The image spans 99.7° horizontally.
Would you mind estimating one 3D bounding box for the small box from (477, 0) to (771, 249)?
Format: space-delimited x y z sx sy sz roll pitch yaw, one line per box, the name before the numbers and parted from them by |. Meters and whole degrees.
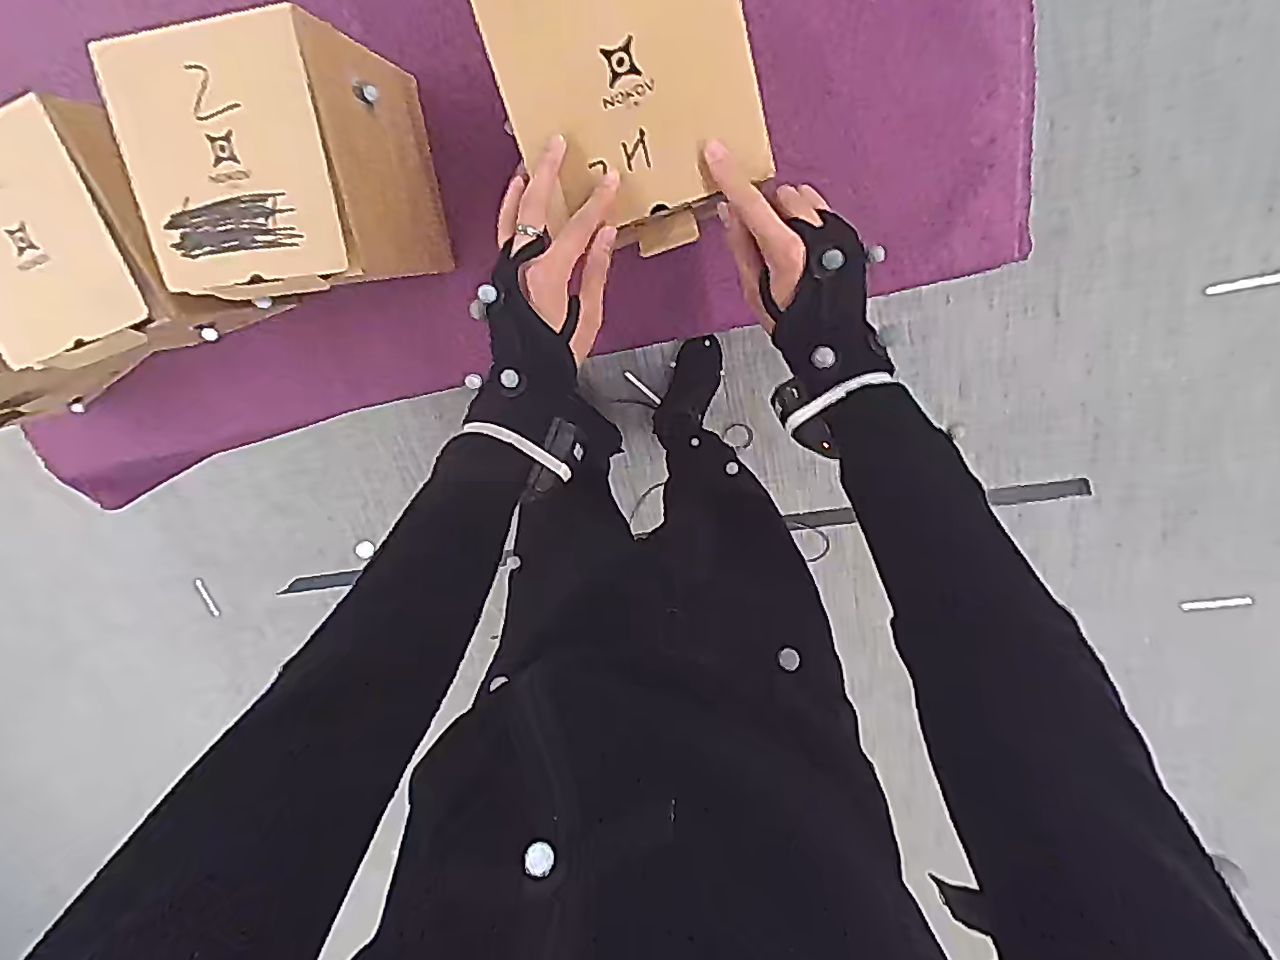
small box | -0.001 -0.296 0.431 0.168 0.176 0.179 -13 110 13
